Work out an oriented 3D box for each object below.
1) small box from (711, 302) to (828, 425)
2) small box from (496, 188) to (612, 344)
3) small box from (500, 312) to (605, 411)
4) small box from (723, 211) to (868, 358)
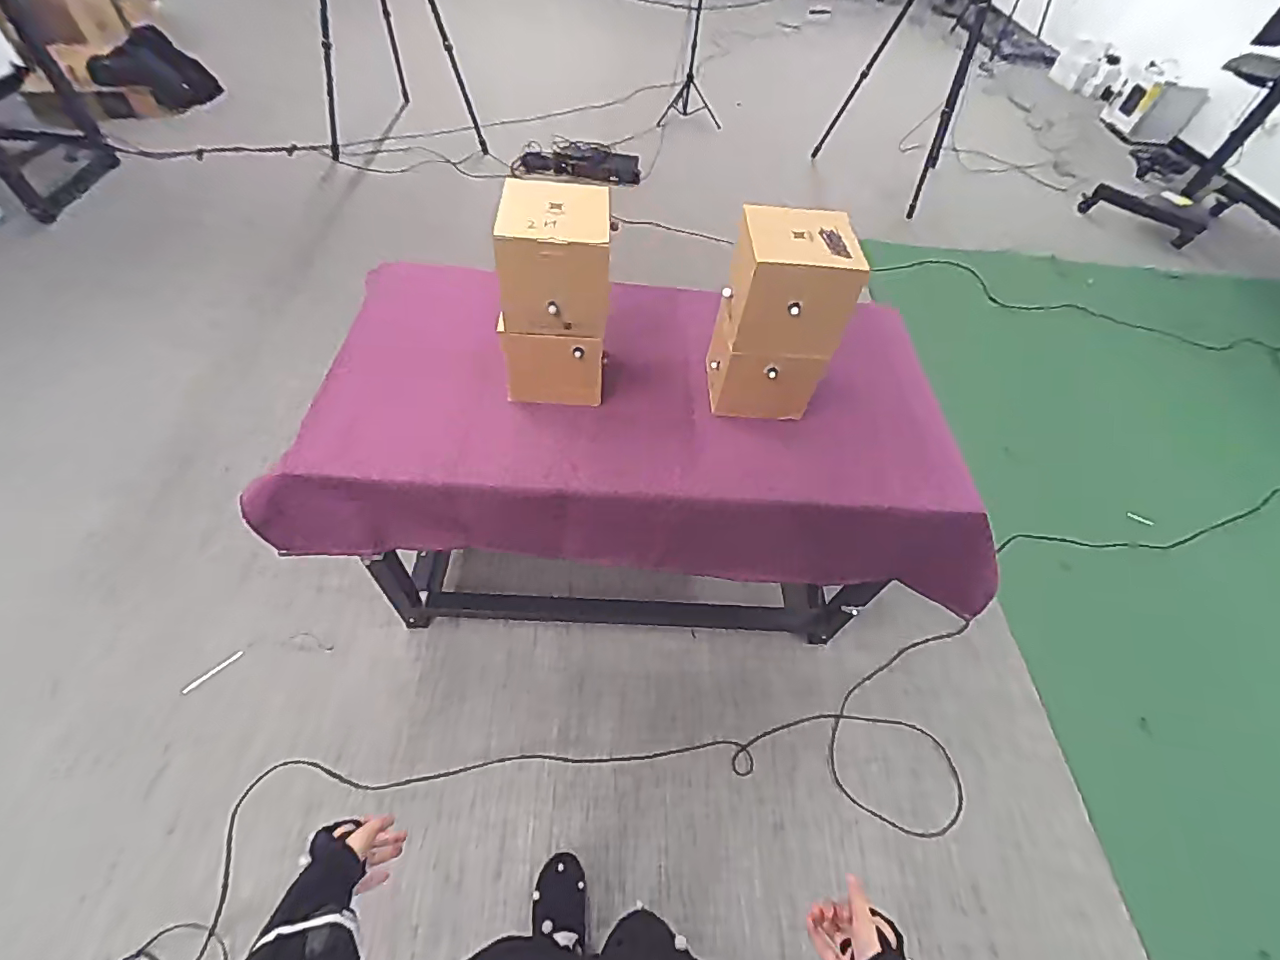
[{"bbox_3d":[0.235,-0.222,1.037,0.179,0.176,0.168,4,54,-4],"label":"small box"},{"bbox_3d":[-0.134,-0.348,0.887,0.168,0.176,0.179,2,53,-5],"label":"small box"},{"bbox_3d":[-0.156,-0.246,1.014,0.179,0.176,0.168,2,53,-6],"label":"small box"},{"bbox_3d":[0.248,-0.322,0.907,0.179,0.176,0.168,2,53,-4],"label":"small box"}]
